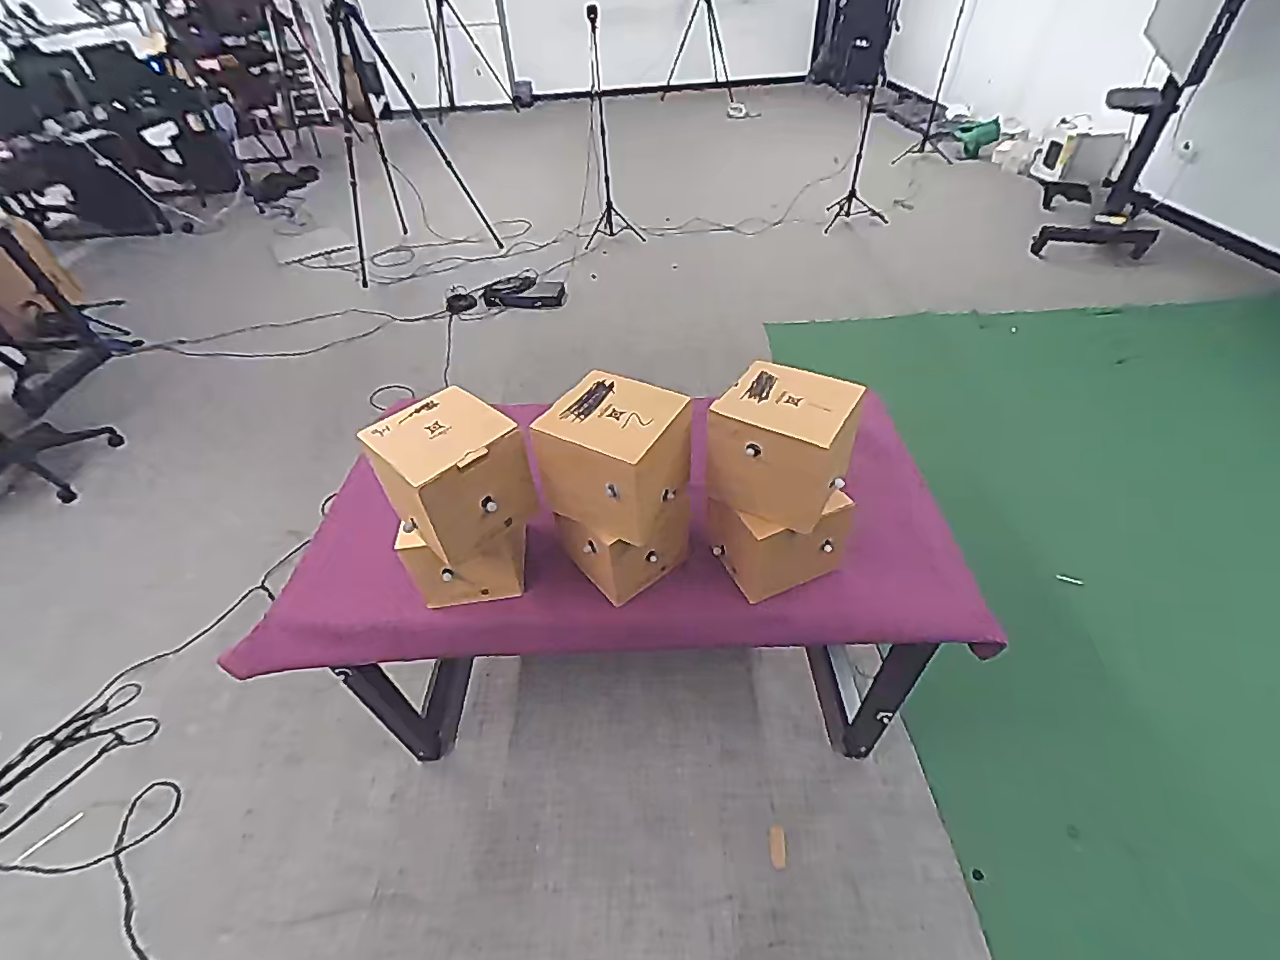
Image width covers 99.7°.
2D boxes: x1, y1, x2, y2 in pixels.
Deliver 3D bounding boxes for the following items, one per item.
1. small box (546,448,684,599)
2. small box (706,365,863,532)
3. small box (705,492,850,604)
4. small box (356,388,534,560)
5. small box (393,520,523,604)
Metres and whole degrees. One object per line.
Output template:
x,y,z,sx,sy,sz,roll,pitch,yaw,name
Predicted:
-0.038,0.081,0.940,0.168,0.176,0.179,-29,48,-26,small box
0.212,-0.048,0.826,0.179,0.176,0.168,23,48,26,small box
0.223,0.080,0.927,0.179,0.176,0.168,-18,44,-14,small box
-0.282,-0.005,0.813,0.179,0.176,0.168,32,53,32,small box
-0.302,0.101,0.941,0.168,0.176,0.179,-7,42,-4,small box
